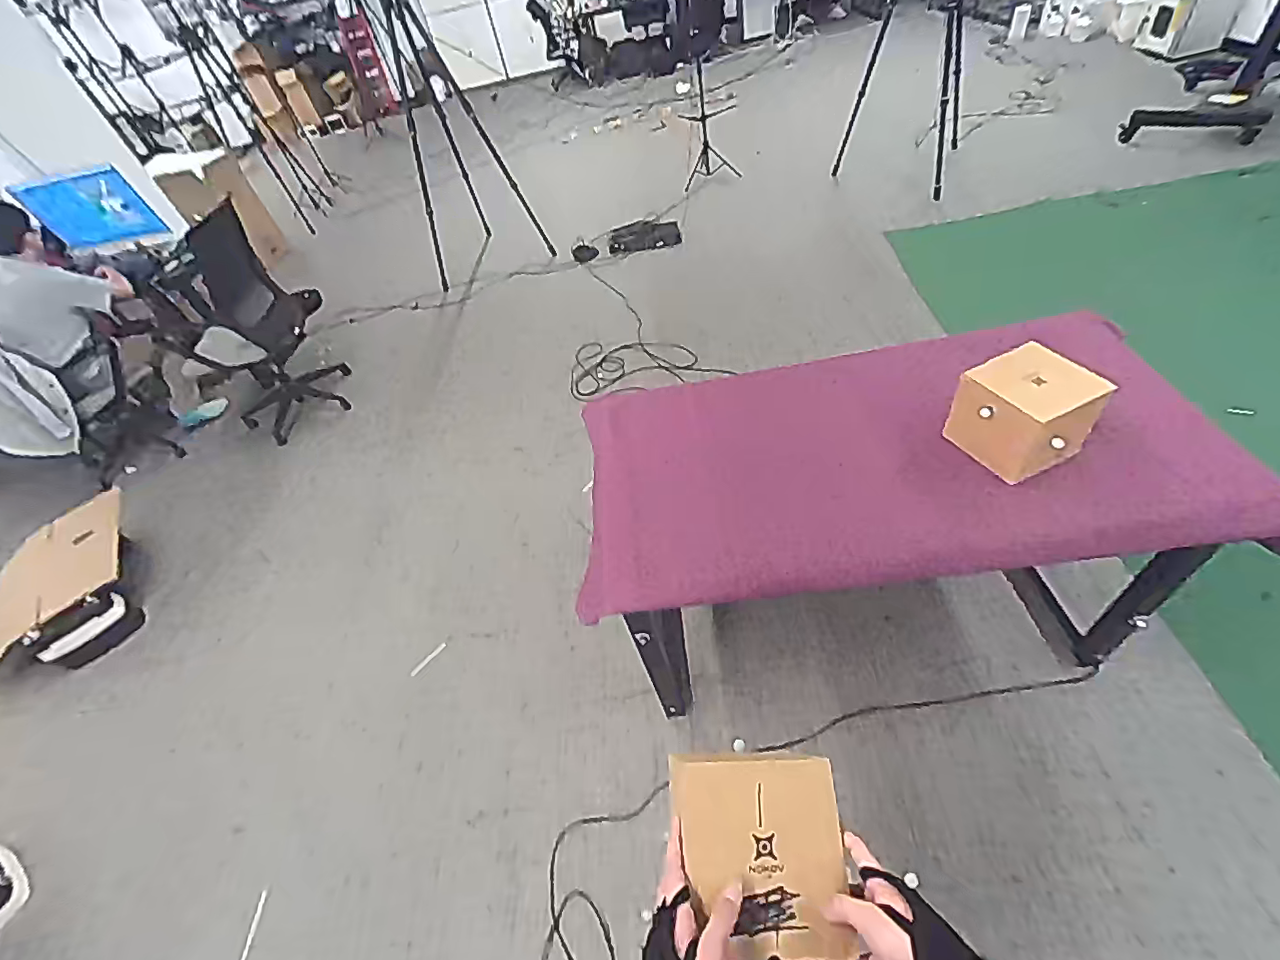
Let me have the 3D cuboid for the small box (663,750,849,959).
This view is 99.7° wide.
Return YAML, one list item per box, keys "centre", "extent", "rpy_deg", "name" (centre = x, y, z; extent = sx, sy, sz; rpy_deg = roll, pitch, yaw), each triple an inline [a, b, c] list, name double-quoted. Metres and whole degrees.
- centre: [0.115, 0.410, 0.615]
  extent: [0.168, 0.176, 0.179]
  rpy_deg: [0, 65, -2]
  name: "small box"

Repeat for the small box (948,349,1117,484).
- centre: [0.733, -0.114, 1.034]
  extent: [0.168, 0.176, 0.179]
  rpy_deg: [-24, 47, -8]
  name: "small box"
